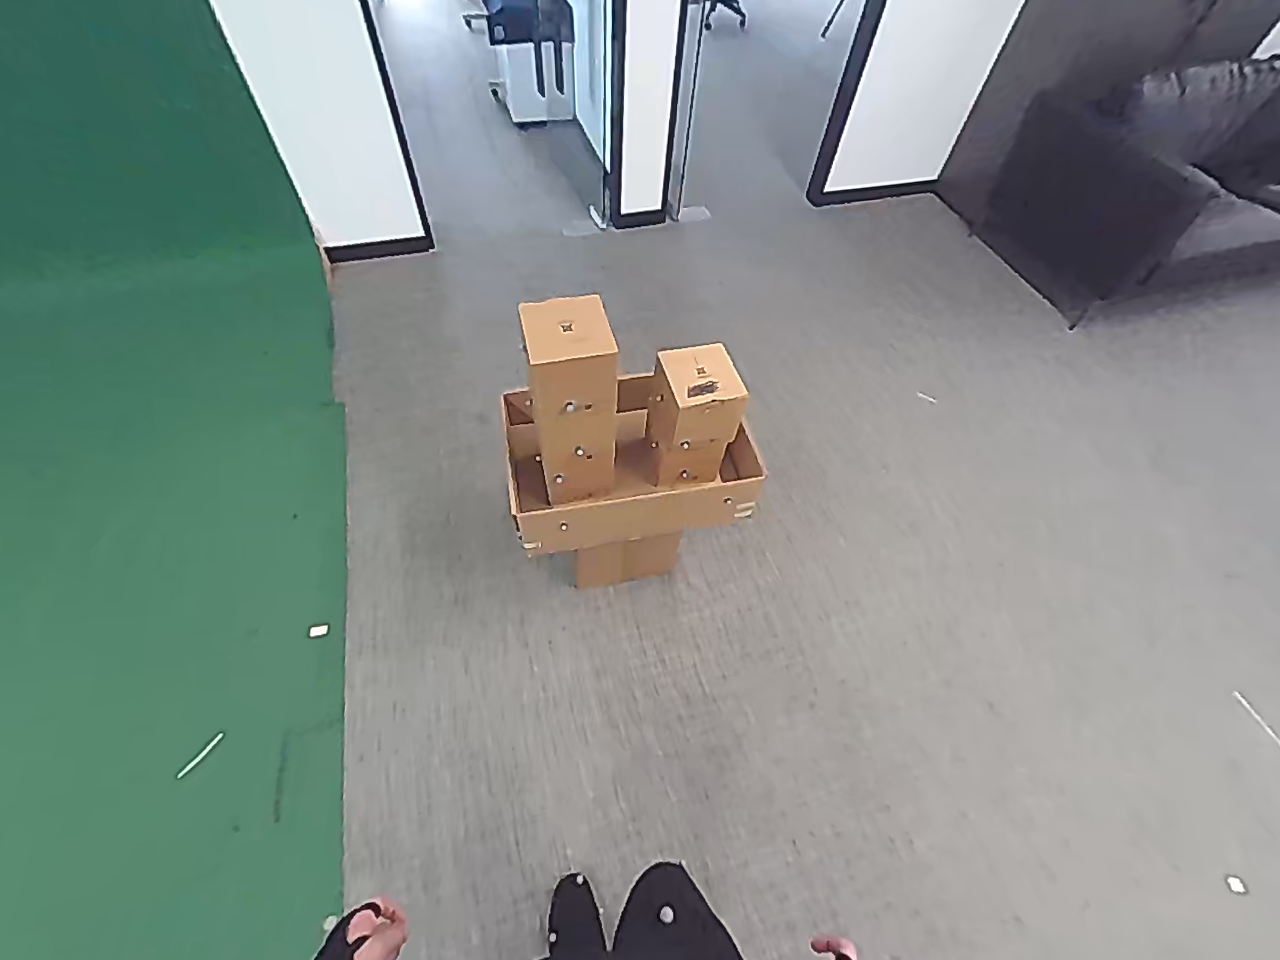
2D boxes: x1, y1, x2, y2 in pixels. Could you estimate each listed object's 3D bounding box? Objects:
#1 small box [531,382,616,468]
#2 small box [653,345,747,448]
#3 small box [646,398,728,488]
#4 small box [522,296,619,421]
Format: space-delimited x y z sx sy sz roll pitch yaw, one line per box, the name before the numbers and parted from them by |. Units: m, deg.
small box | -0.154 -0.153 1.233 0.168 0.176 0.179 -10 57 -11
small box | 0.135 -0.191 1.285 0.168 0.176 0.179 -10 57 -12
small box | 0.114 -0.102 1.422 0.168 0.176 0.179 -6 57 -10
small box | -0.142 -0.245 1.099 0.168 0.176 0.179 -10 56 -10
